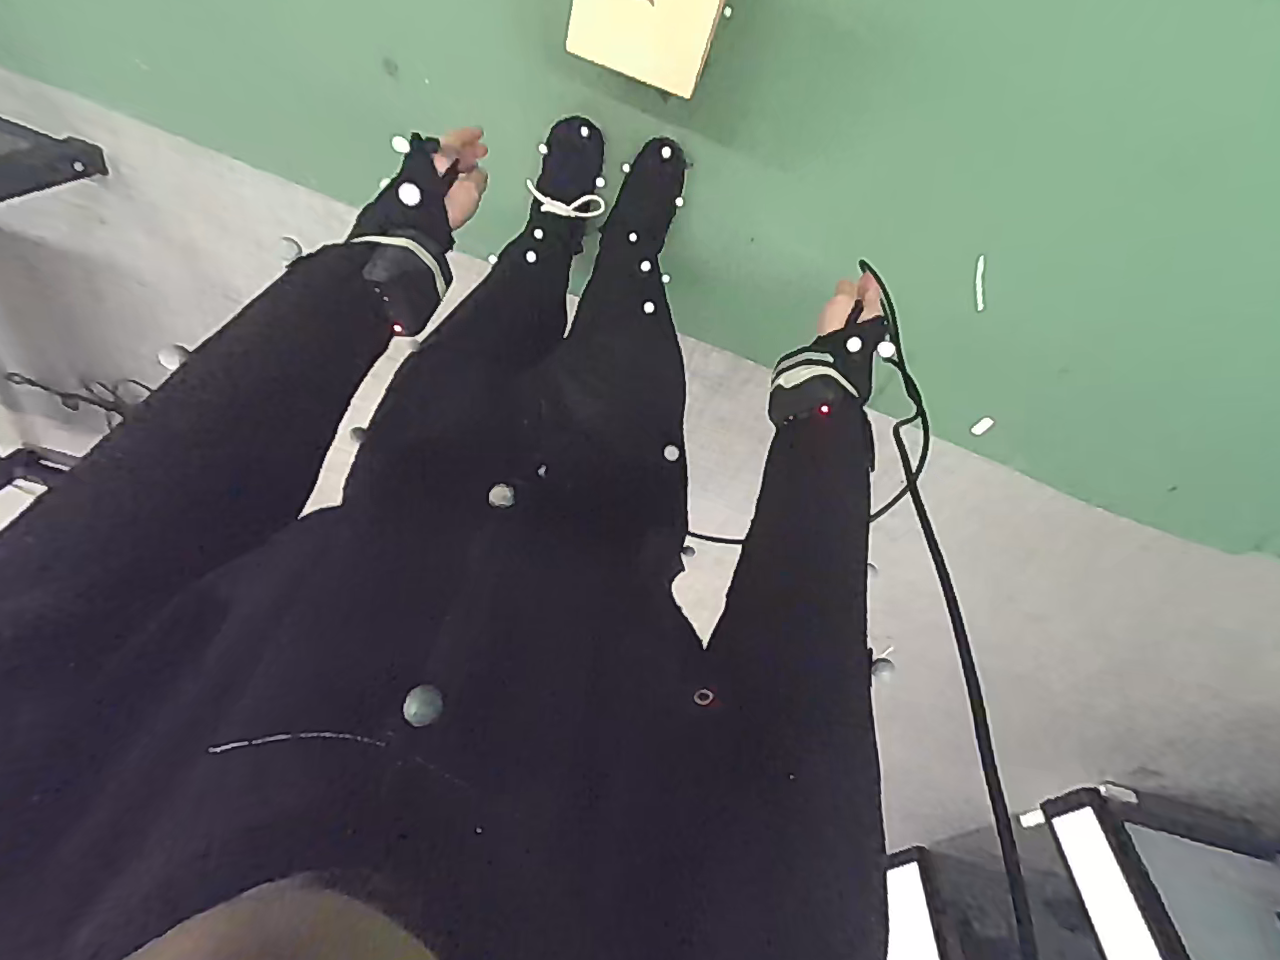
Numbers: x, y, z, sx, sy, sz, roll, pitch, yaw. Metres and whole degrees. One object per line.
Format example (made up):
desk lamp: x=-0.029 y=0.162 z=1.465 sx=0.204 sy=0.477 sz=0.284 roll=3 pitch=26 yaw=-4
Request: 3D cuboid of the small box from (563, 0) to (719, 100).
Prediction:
small box: x=0.016 y=-0.614 z=0.673 sx=0.168 sy=0.176 sz=0.179 roll=17 pitch=131 yaw=-7
